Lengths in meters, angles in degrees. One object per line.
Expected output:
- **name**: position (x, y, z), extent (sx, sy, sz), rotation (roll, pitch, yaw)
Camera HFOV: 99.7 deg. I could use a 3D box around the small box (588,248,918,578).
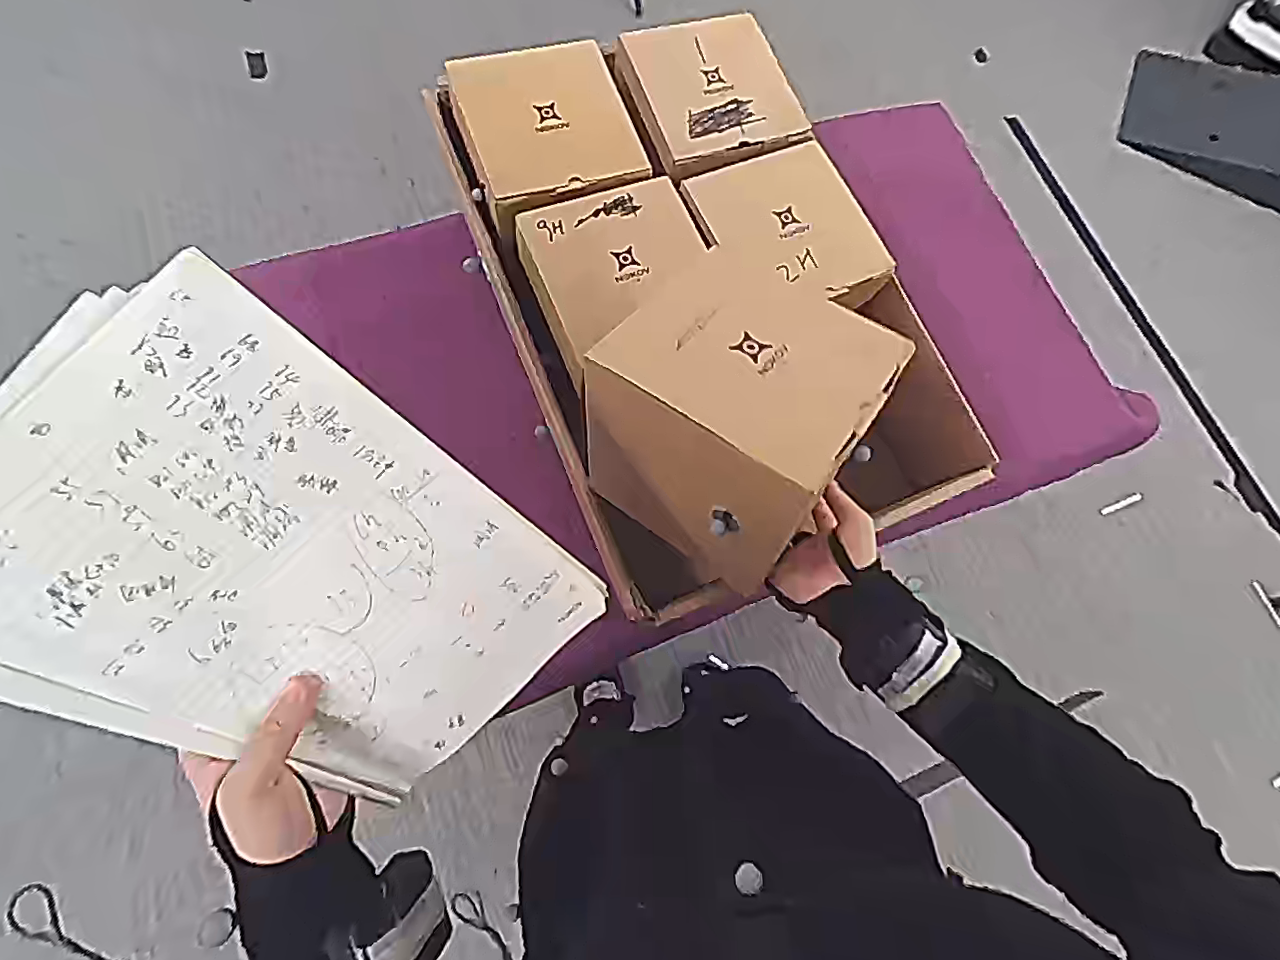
- **small box**: position (0.077, -0.044, 0.438), extent (0.179, 0.176, 0.168), rotation (34, 61, 17)
